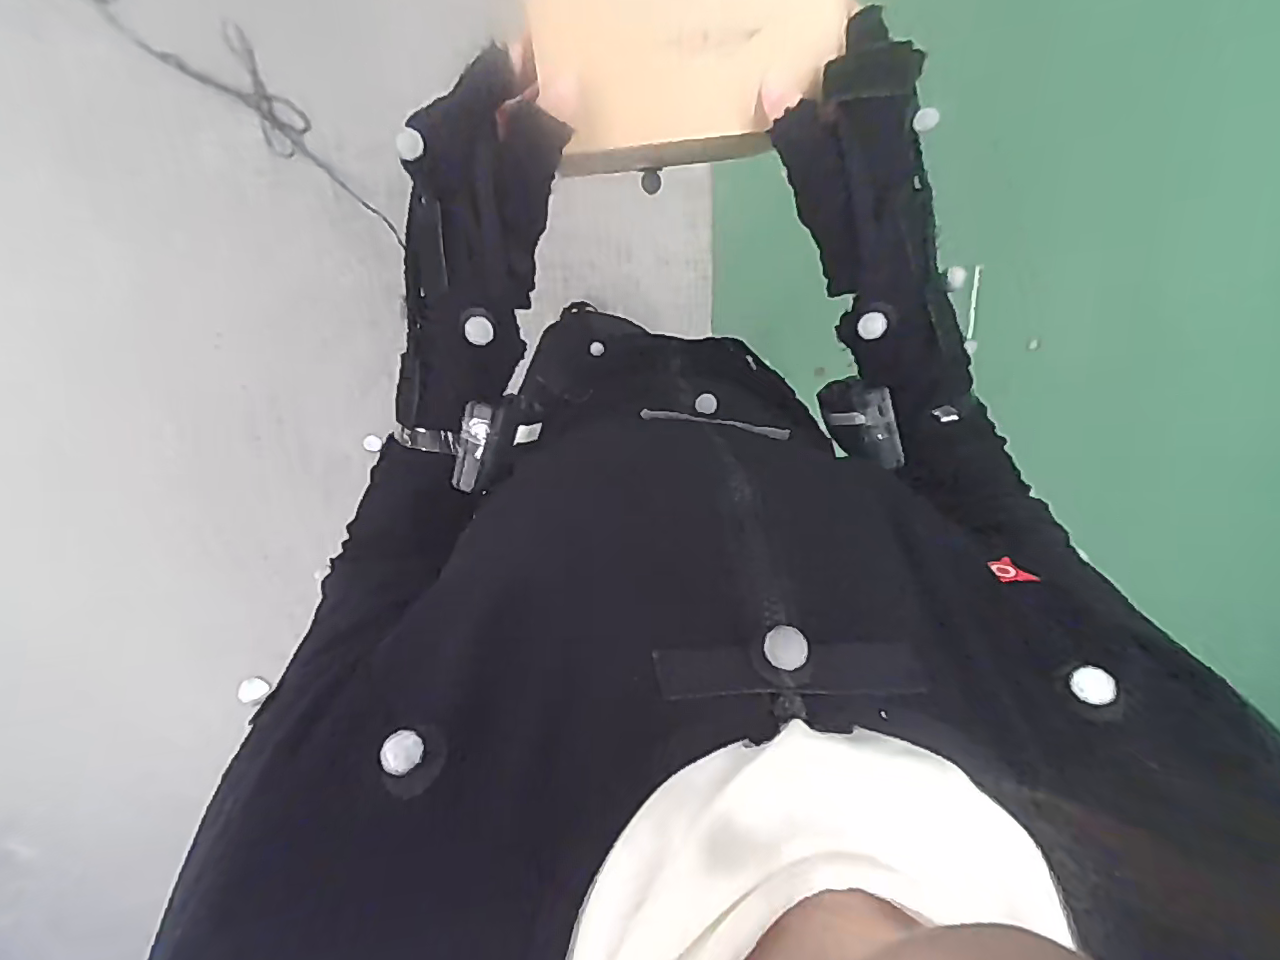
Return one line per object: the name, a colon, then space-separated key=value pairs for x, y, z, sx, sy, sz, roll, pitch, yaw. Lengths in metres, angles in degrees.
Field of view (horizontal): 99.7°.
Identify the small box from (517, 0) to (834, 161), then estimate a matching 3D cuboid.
small box: x=0.007 y=-0.311 z=0.330 sx=0.168 sy=0.176 sz=0.179 roll=-9 pitch=117 yaw=-2
